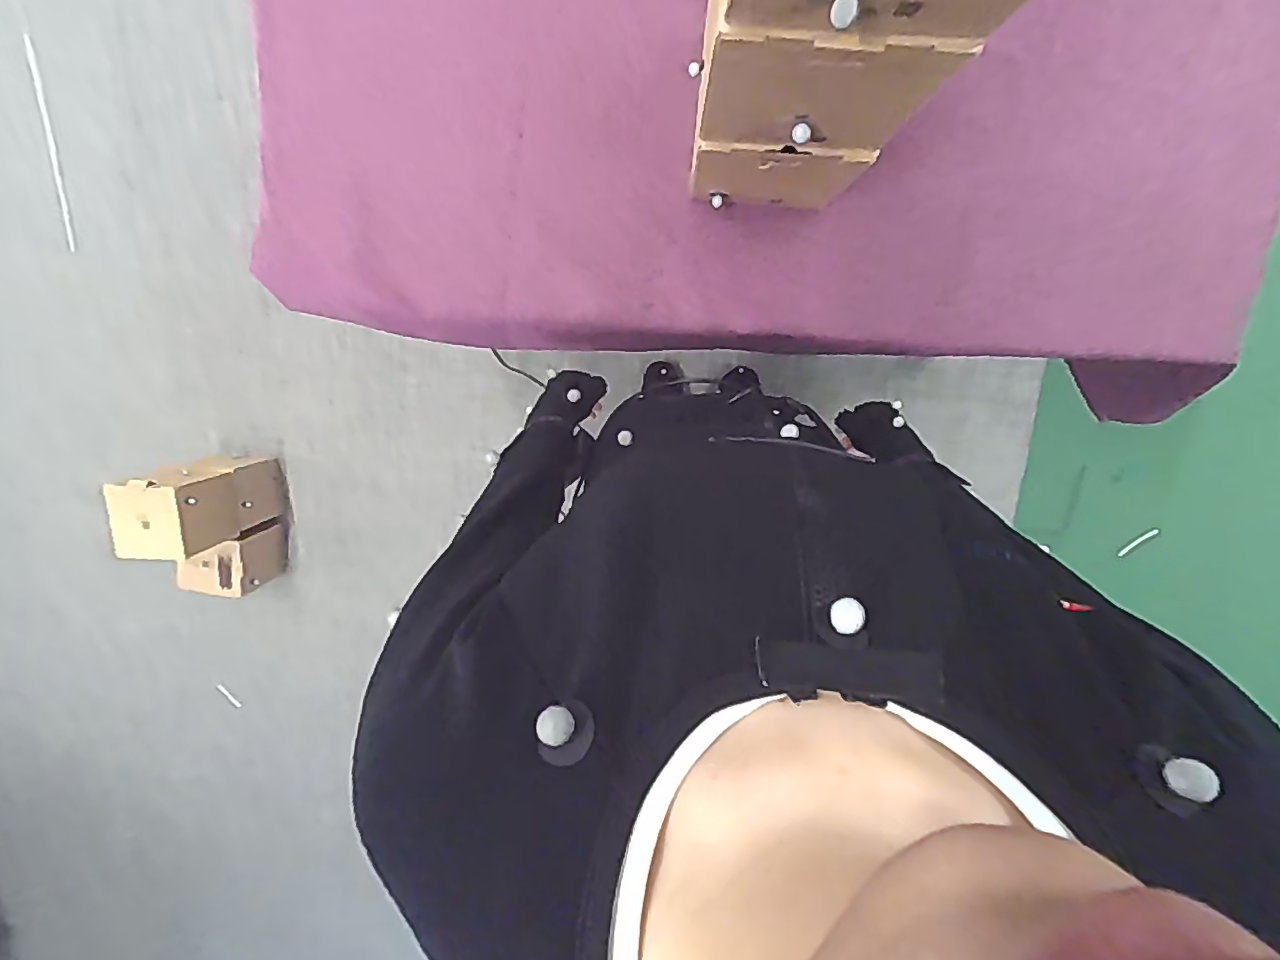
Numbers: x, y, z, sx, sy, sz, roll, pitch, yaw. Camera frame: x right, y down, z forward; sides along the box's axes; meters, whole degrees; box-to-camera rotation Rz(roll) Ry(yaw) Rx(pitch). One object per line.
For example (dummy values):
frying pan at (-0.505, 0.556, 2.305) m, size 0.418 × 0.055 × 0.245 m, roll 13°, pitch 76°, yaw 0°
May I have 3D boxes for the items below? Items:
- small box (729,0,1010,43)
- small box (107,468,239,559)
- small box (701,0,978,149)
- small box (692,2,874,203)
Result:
small box at (0.131, -0.344, 0.238) m, size 0.168 × 0.176 × 0.179 m, roll 5°, pitch 103°, yaw 2°
small box at (-1.107, 0.076, 1.299) m, size 0.168 × 0.176 × 0.179 m, roll 2°, pitch 102°, yaw 2°
small box at (0.137, -0.376, 0.398) m, size 0.168 × 0.176 × 0.179 m, roll 5°, pitch 103°, yaw 2°
small box at (0.145, -0.404, 0.560) m, size 0.168 × 0.176 × 0.179 m, roll 5°, pitch 102°, yaw 1°
